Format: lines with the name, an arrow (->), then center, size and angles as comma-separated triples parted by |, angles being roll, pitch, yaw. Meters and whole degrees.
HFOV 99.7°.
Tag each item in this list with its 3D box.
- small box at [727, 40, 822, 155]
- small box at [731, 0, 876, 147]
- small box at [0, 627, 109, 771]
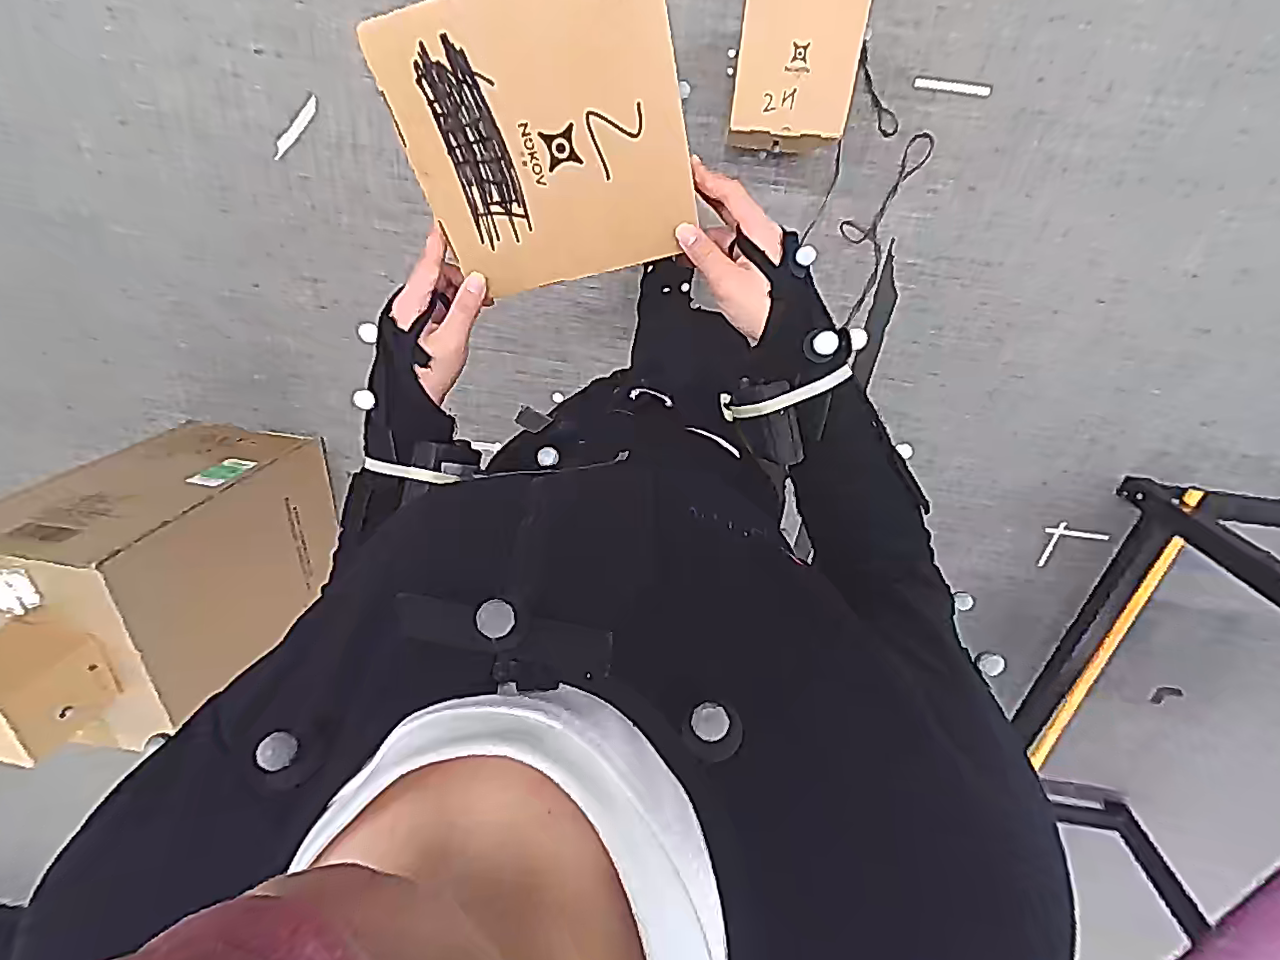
small box -> 0.250, -0.693, 0.959 | 0.168, 0.176, 0.179 | 9, 119, 3
small box -> 0.231, -0.618, 0.814 | 0.168, 0.176, 0.179 | 8, 118, 4
small box -> -1.137, 0.392, 0.988 | 0.179, 0.176, 0.168 | 9, 118, 3
